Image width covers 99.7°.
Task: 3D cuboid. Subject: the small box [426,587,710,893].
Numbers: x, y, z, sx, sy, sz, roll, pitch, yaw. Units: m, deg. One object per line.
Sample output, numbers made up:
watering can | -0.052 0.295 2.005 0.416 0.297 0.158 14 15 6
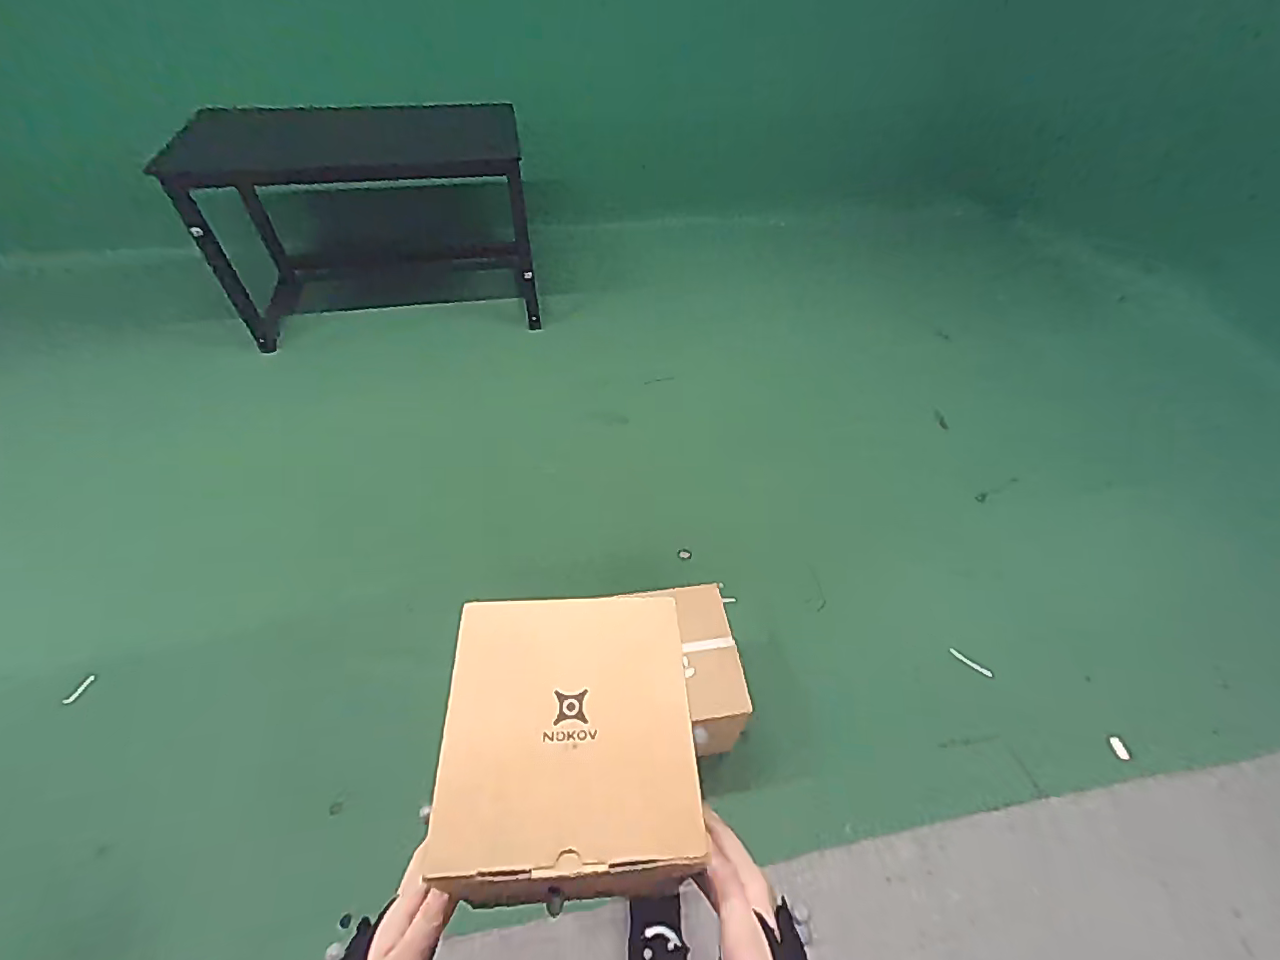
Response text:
small box | -0.053 0.201 0.422 0.168 0.176 0.179 0 49 -7

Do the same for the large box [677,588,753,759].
large box | 0.014 0.495 1.312 0.408 0.320 0.320 -5 50 -7
